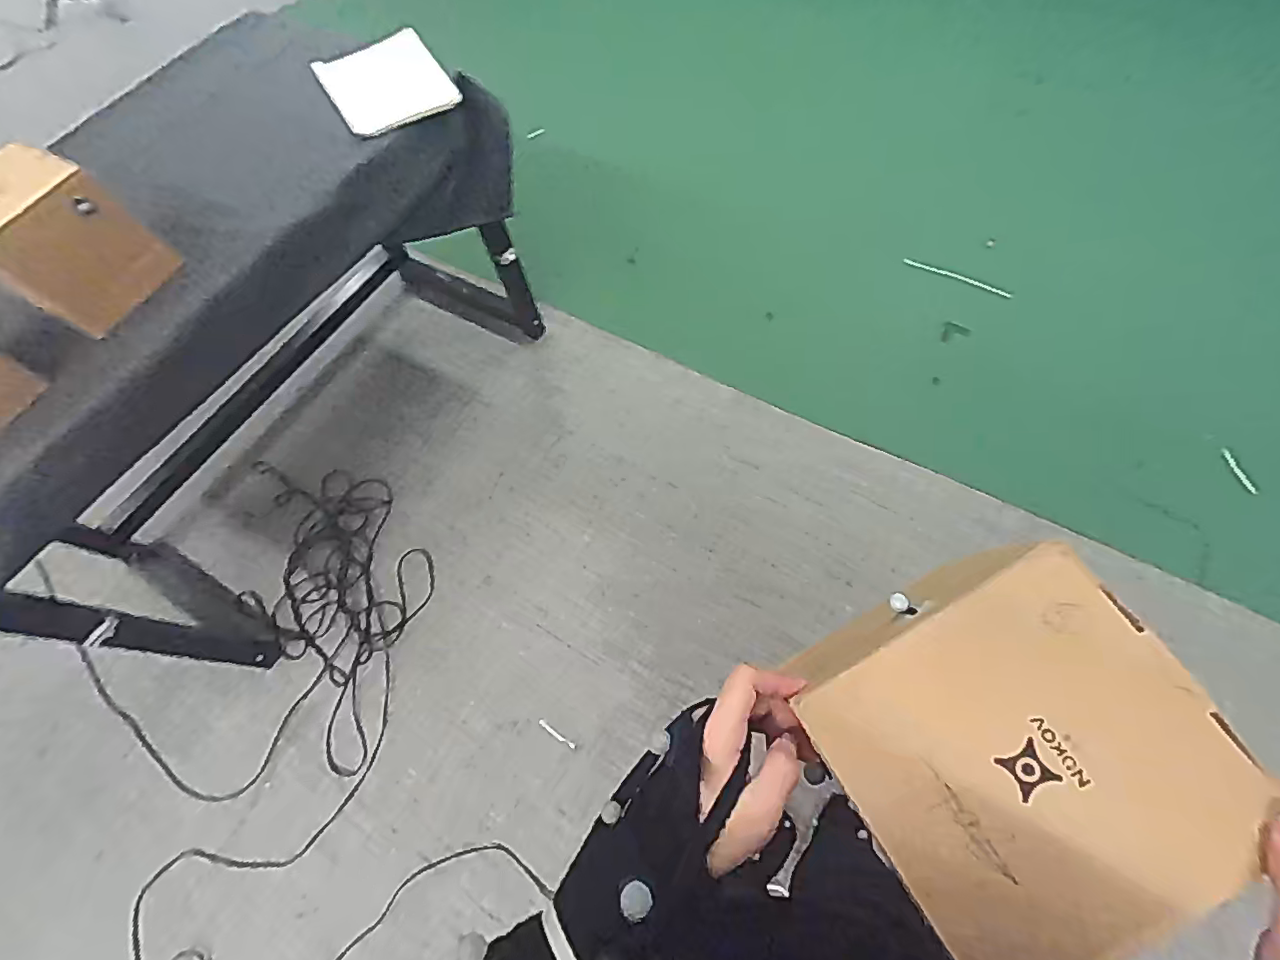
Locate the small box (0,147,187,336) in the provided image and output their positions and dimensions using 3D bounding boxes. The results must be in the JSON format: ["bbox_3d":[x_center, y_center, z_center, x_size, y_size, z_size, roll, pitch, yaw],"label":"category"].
[{"bbox_3d":[-0.841,-0.343,0.796,0.168,0.176,0.179,23,69,16],"label":"small box"}]

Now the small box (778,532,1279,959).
[{"bbox_3d":[0.209,0.157,0.351,0.179,0.176,0.168,-34,72,0],"label":"small box"}]
